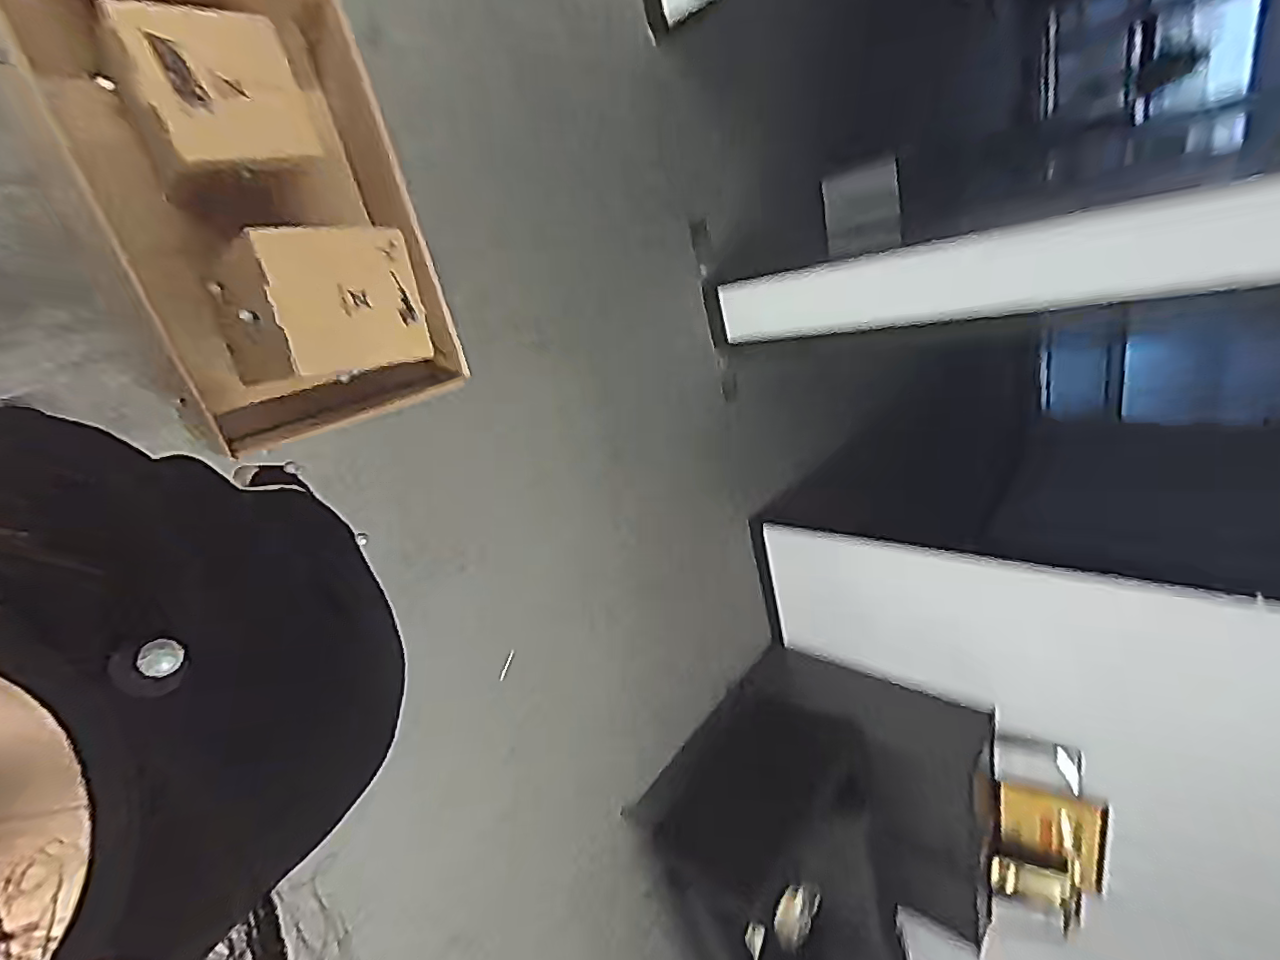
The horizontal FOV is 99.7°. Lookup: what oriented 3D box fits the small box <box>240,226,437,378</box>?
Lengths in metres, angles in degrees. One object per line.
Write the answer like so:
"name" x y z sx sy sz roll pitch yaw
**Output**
"small box" -0.407 -0.233 0.724 0.179 0.176 0.168 -23 112 -40
